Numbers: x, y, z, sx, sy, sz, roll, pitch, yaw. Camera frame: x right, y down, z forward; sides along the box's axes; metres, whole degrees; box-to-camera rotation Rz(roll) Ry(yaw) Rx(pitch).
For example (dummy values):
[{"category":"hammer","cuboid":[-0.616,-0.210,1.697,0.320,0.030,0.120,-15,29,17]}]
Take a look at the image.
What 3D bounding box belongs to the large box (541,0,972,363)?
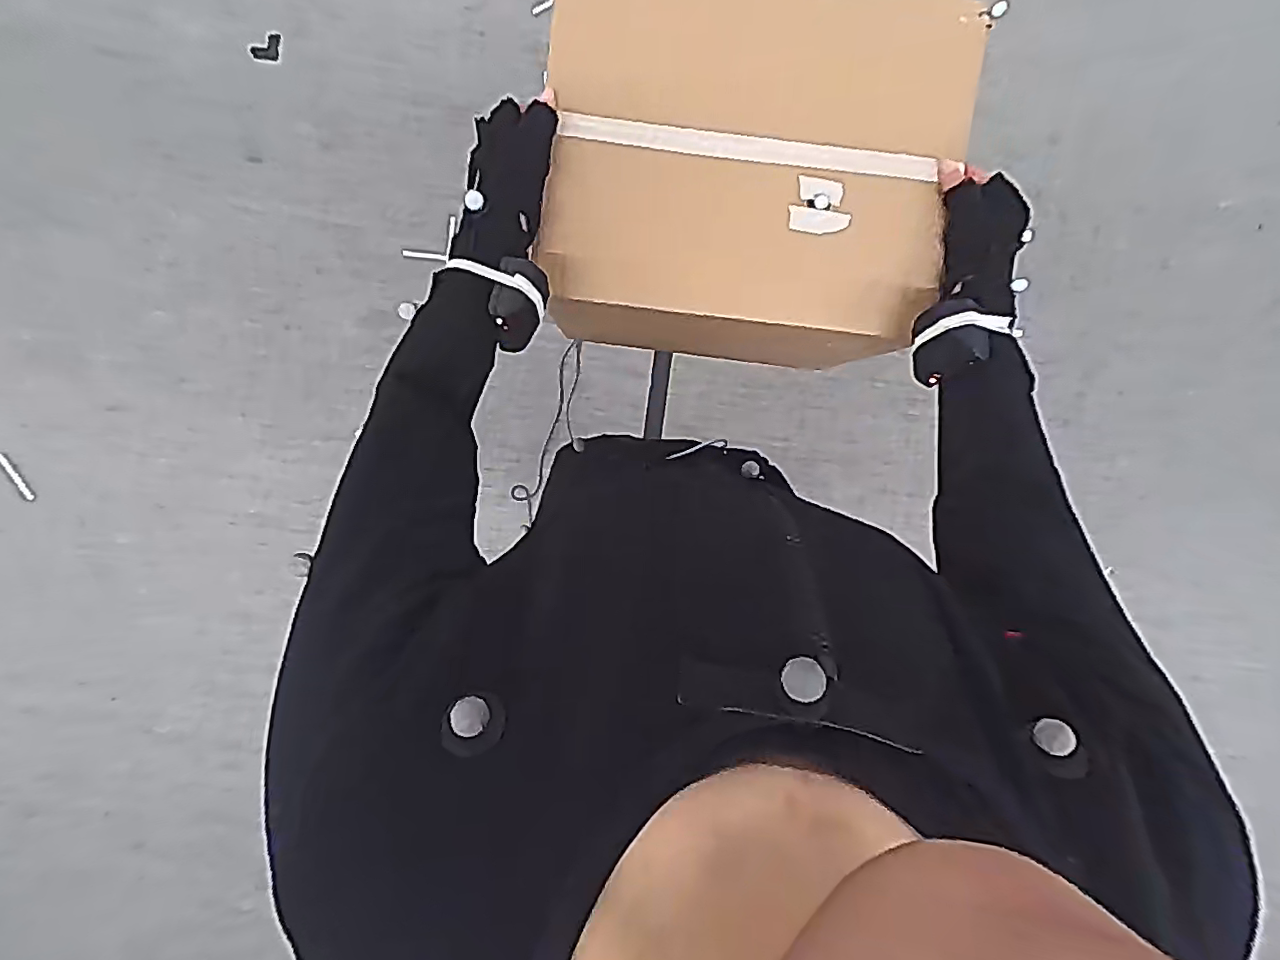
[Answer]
[{"category":"large box","cuboid":[0.105,-0.334,0.676,0.408,0.320,0.320,6,97,-3]}]
